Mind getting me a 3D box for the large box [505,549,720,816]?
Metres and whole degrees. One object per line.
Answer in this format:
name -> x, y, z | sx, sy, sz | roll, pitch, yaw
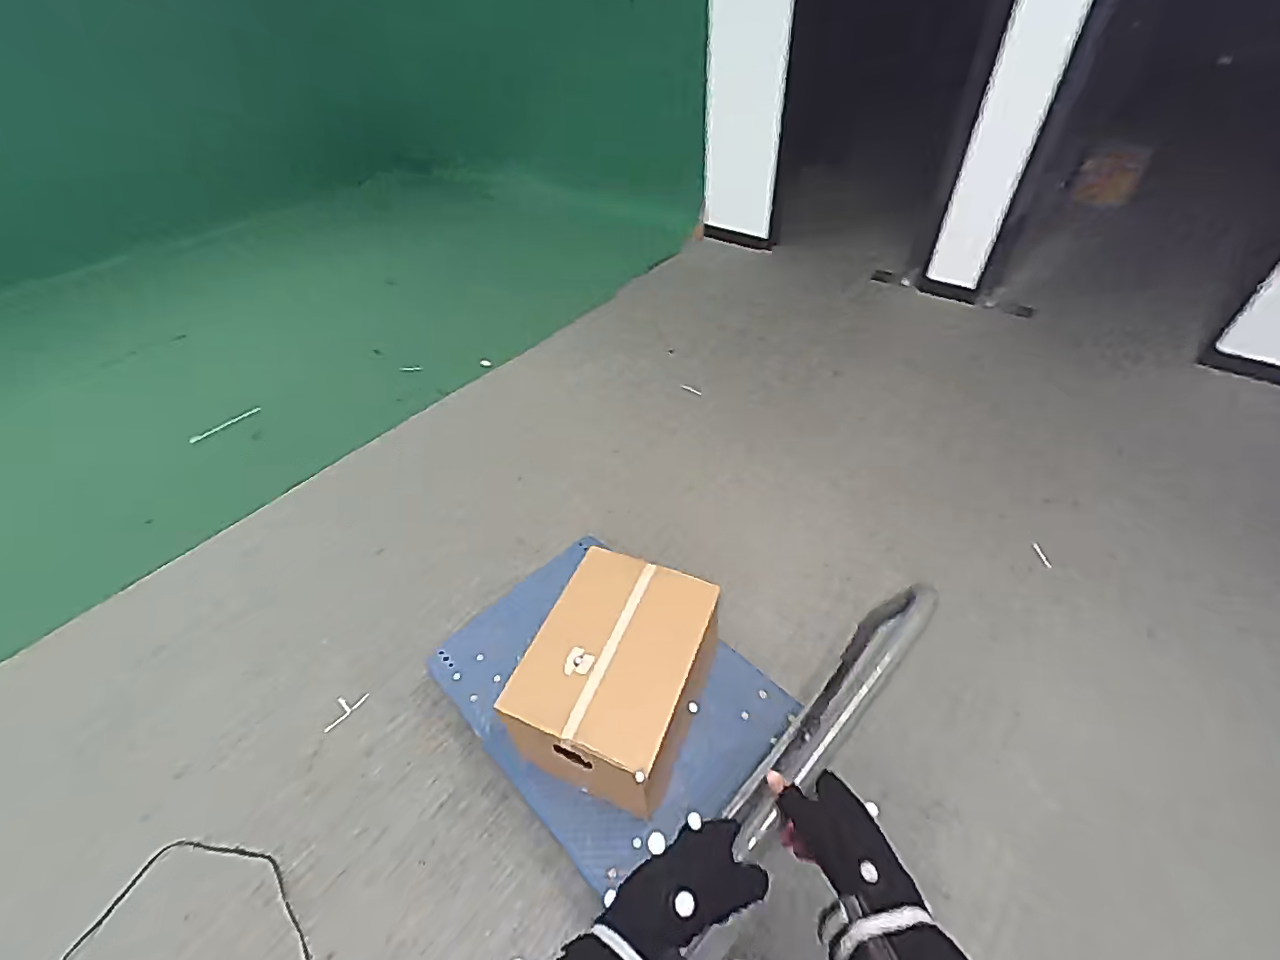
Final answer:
large box -> -0.032, 0.432, 1.190 | 0.320, 0.320, 0.408 | 15, 49, 19
